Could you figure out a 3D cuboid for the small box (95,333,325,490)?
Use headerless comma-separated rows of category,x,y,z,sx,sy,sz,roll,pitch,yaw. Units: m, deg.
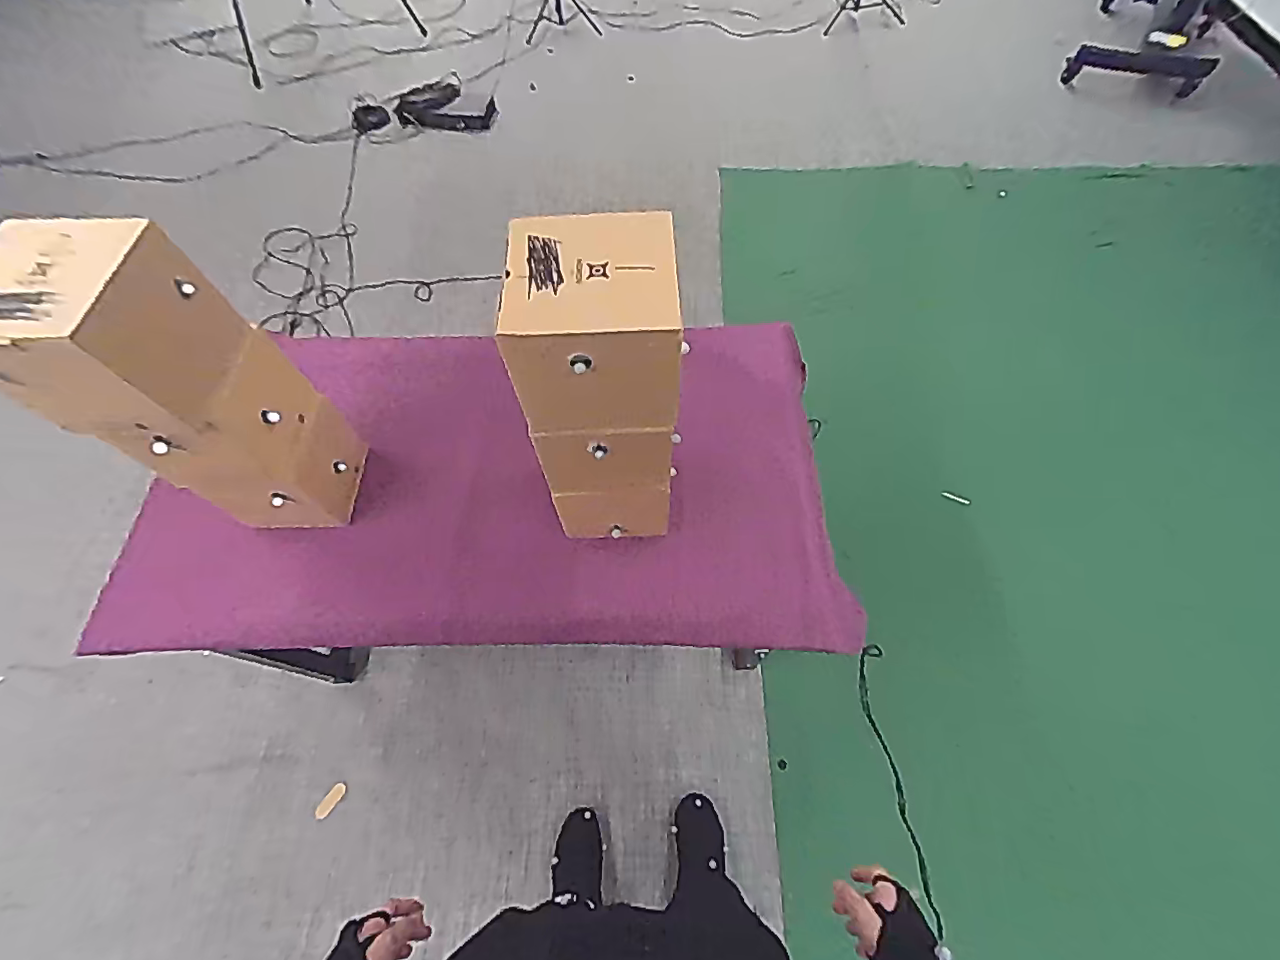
small box,-0.599,-0.094,0.785,0.179,0.176,0.168,-1,62,2

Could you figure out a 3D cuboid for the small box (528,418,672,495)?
small box,-0.045,-0.086,0.757,0.179,0.176,0.168,-1,62,2

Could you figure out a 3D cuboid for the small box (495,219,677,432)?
small box,-0.049,-0.165,0.614,0.179,0.176,0.168,-2,63,1

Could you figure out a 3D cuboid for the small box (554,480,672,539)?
small box,-0.040,-0.008,0.901,0.179,0.176,0.168,-2,61,1

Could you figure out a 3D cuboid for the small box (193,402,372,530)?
small box,-0.594,-0.020,0.929,0.179,0.176,0.168,-1,61,1
